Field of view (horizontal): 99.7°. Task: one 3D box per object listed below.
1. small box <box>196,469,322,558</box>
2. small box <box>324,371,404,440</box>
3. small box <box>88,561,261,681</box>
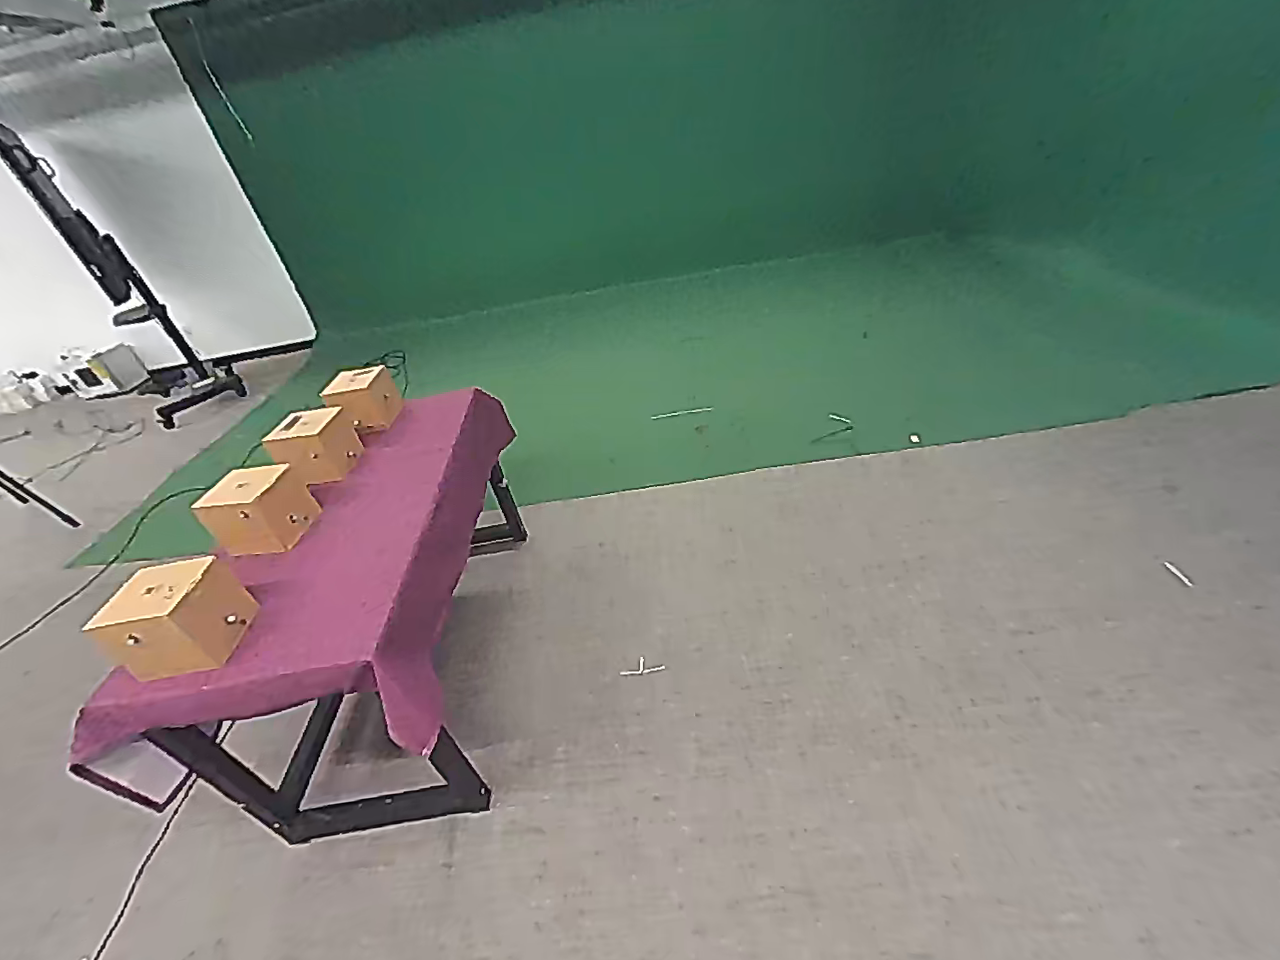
[{"bbox_3d":[-0.996,0.092,1.430,0.179,0.176,0.168,-5,36,8],"label":"small box"},{"bbox_3d":[-0.960,-0.262,1.902,0.168,0.176,0.179,-9,37,5],"label":"small box"},{"bbox_3d":[-0.953,0.297,1.128,0.179,0.176,0.168,-10,35,2],"label":"small box"}]
